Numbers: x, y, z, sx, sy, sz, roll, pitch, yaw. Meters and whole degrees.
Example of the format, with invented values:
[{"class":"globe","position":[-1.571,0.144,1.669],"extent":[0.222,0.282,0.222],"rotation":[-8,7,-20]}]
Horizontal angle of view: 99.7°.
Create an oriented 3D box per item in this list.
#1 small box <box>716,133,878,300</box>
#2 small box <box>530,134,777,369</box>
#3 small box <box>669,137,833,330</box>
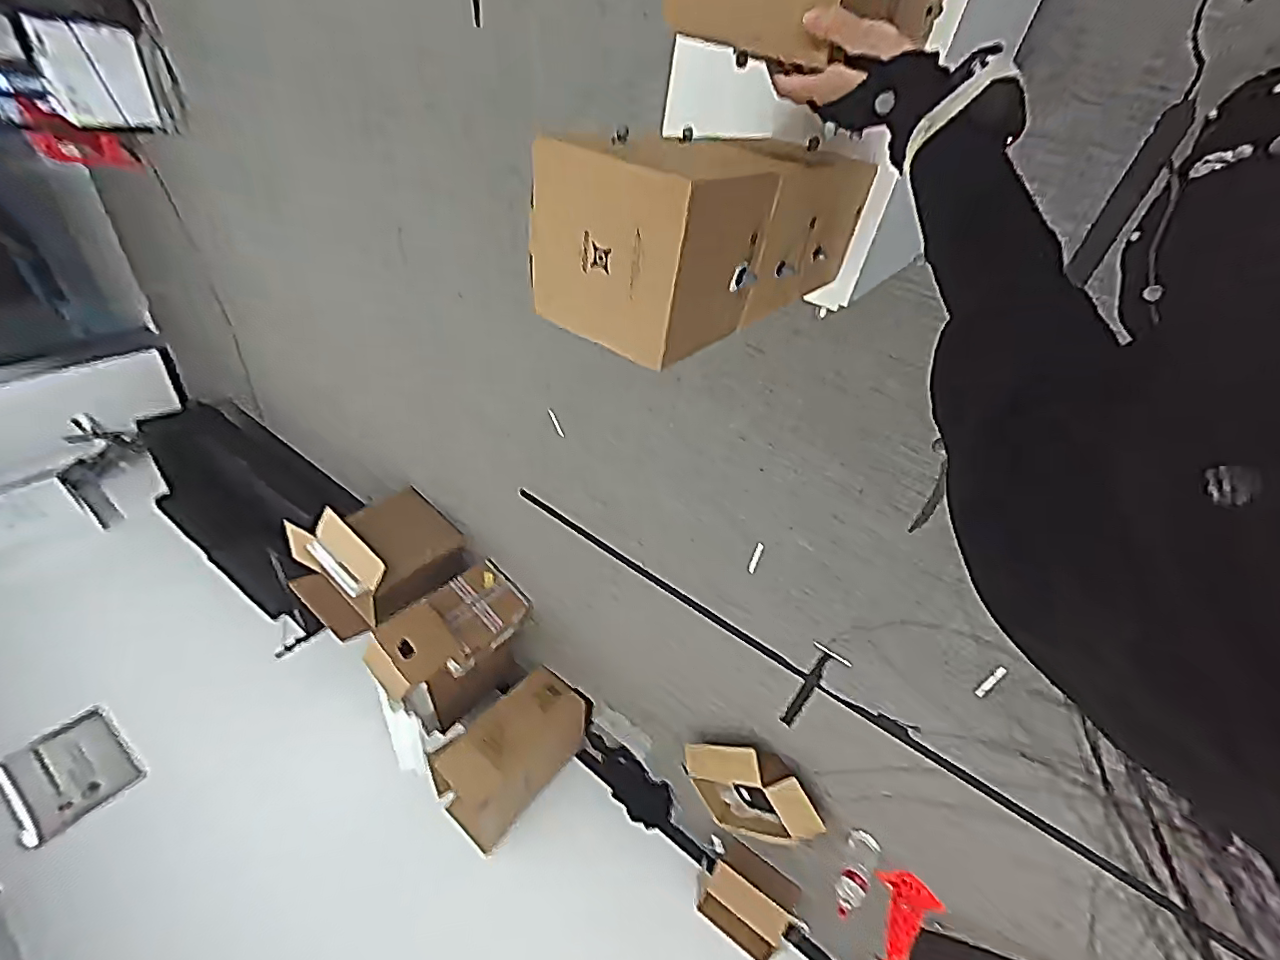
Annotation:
[{"class":"small box","position":[0.202,-0.379,0.769],"extent":[0.179,0.176,0.168],"rotation":[32,134,24]},{"class":"small box","position":[0.009,-0.239,0.548],"extent":[0.179,0.176,0.168],"rotation":[29,133,24]},{"class":"small box","position":[0.107,-0.308,0.658],"extent":[0.179,0.176,0.168],"rotation":[30,132,24]}]
